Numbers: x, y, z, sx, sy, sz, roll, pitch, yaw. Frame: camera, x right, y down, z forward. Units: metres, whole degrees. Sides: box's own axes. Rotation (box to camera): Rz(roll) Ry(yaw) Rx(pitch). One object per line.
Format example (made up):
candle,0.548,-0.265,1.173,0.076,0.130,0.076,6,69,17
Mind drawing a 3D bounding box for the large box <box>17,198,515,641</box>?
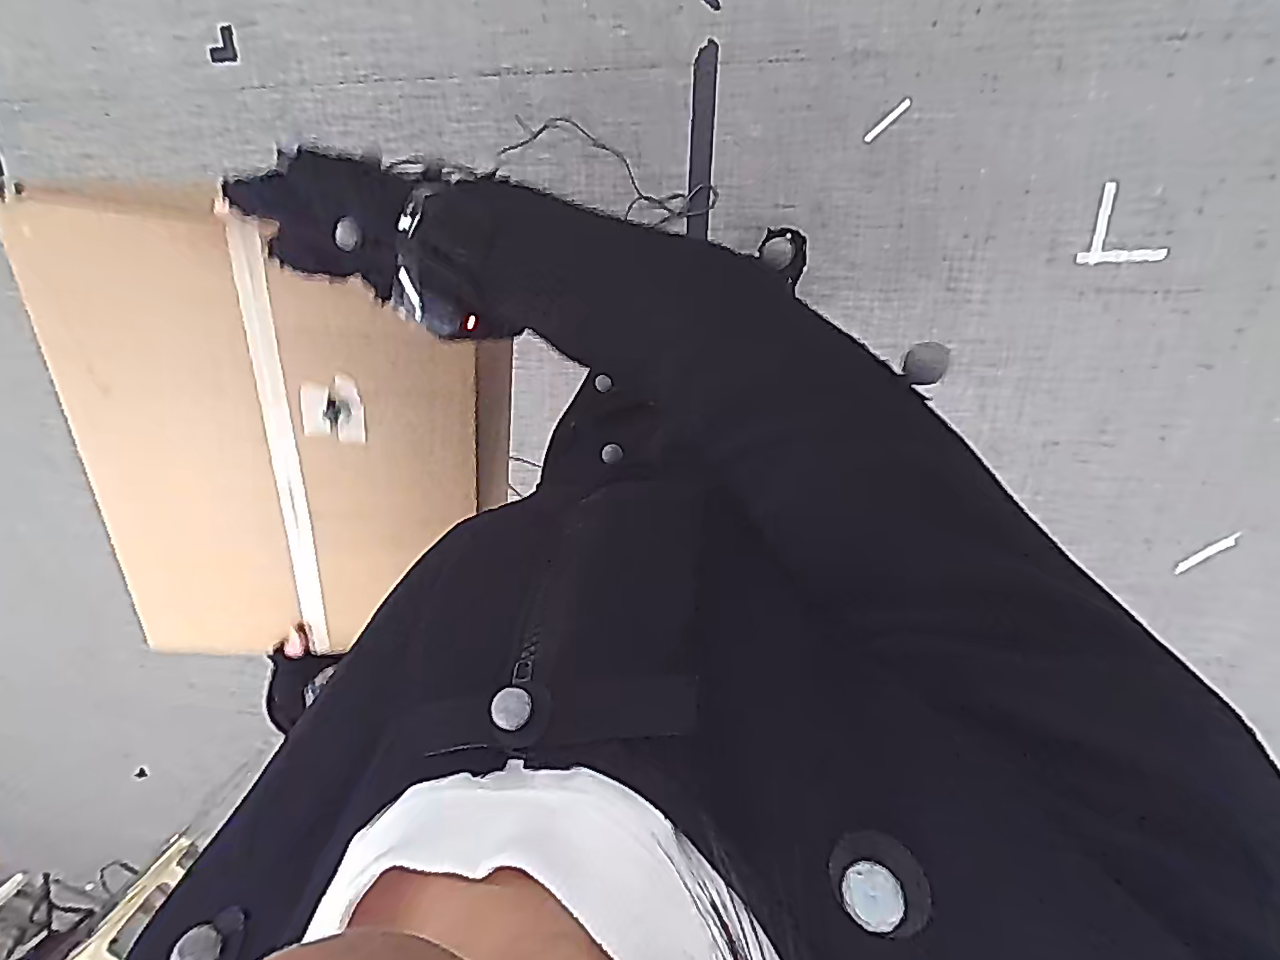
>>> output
large box,-0.316,-0.076,0.612,0.320,0.320,0.408,2,115,-9
